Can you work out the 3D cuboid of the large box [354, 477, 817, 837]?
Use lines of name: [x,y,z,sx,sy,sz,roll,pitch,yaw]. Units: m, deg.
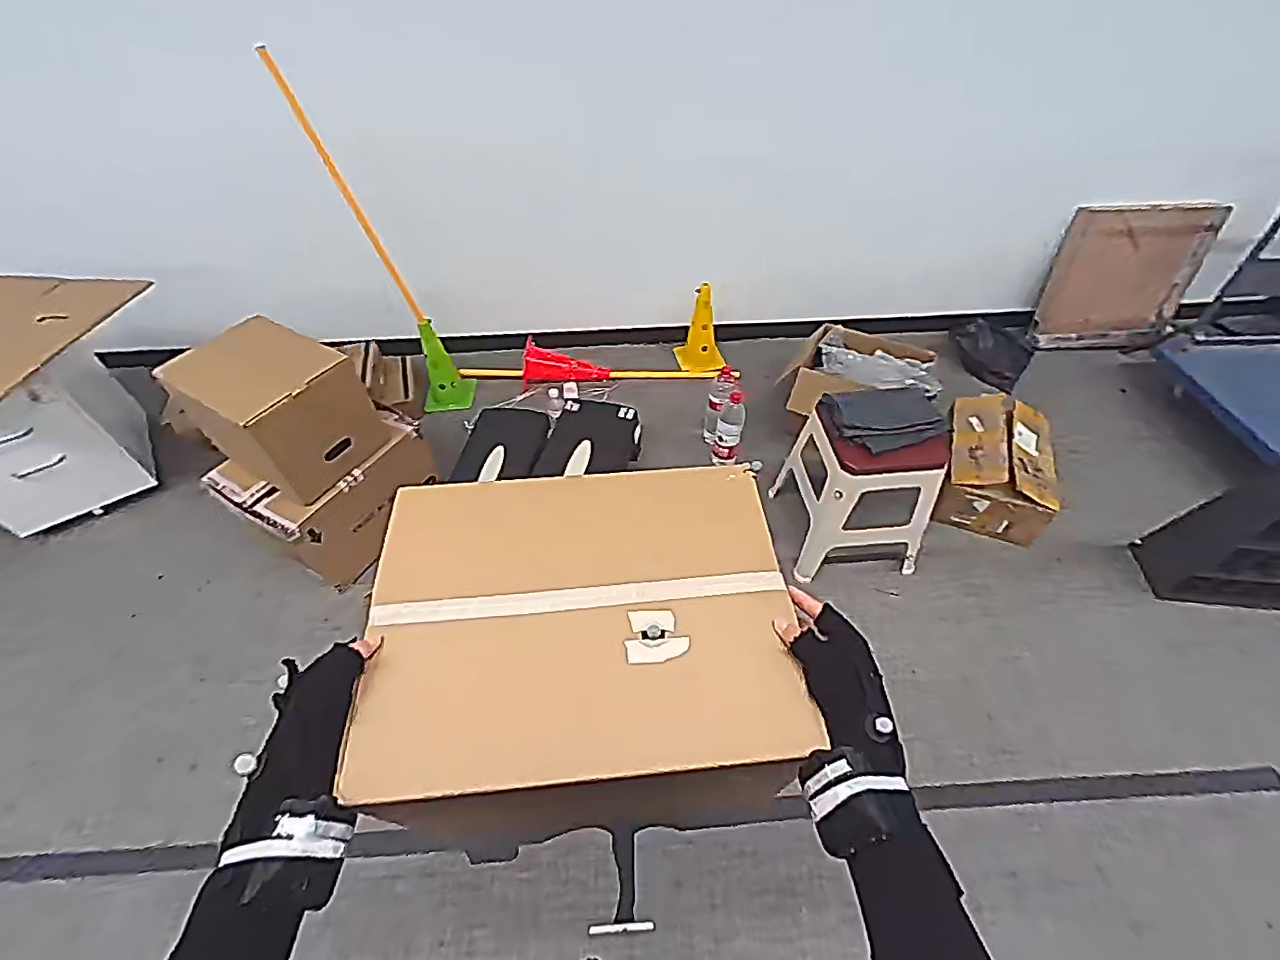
large box: [-0.059,0.221,0.664,0.408,0.320,0.320,-3,53,-4]
